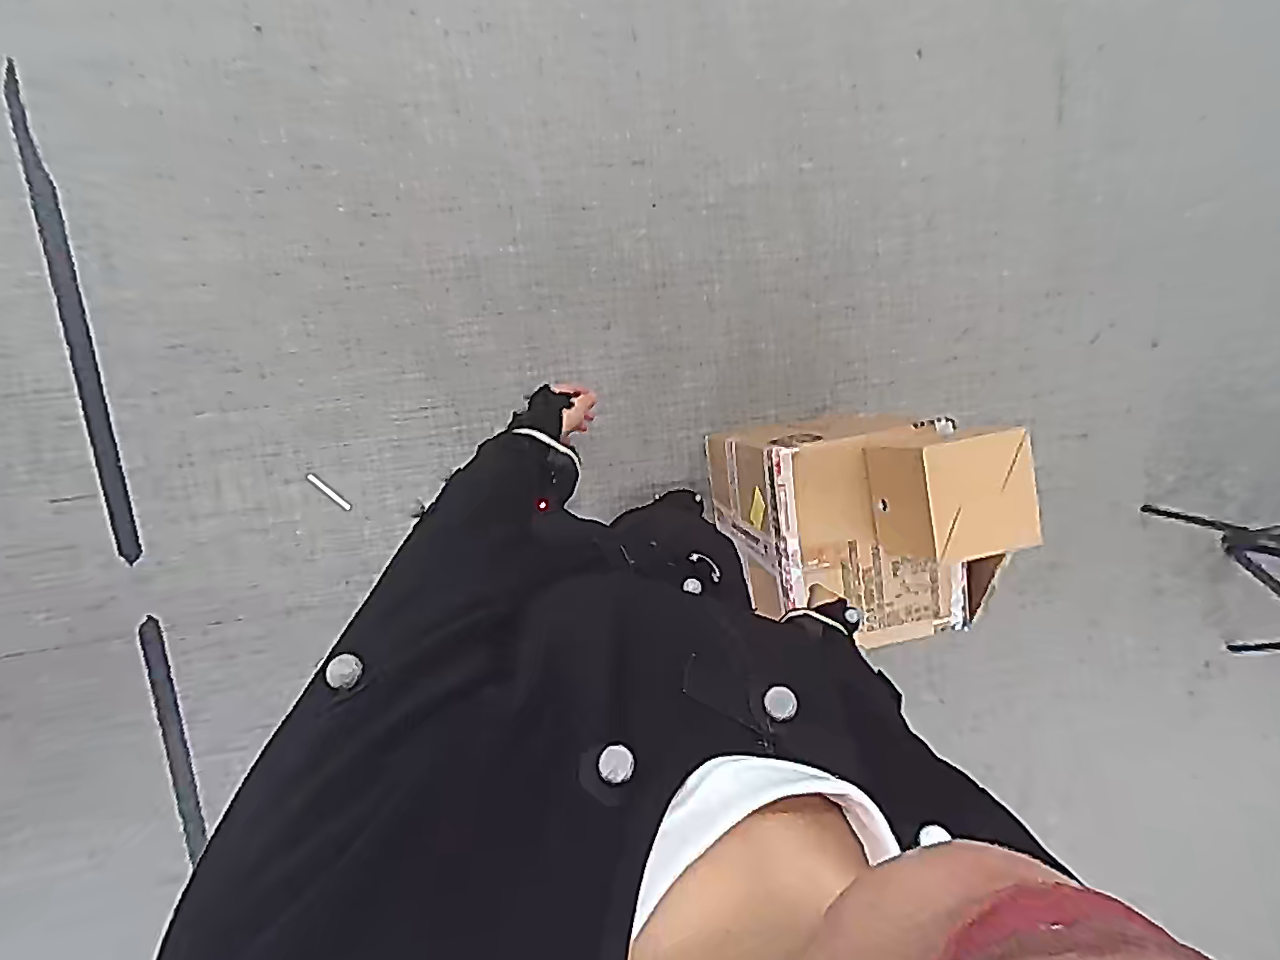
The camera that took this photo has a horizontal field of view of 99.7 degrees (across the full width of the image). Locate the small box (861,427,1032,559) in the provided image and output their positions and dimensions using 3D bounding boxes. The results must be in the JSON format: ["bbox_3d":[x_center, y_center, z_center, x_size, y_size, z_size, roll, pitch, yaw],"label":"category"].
[{"bbox_3d":[0.481,0.016,0.861,0.168,0.176,0.179,-10,96,-5],"label":"small box"}]
